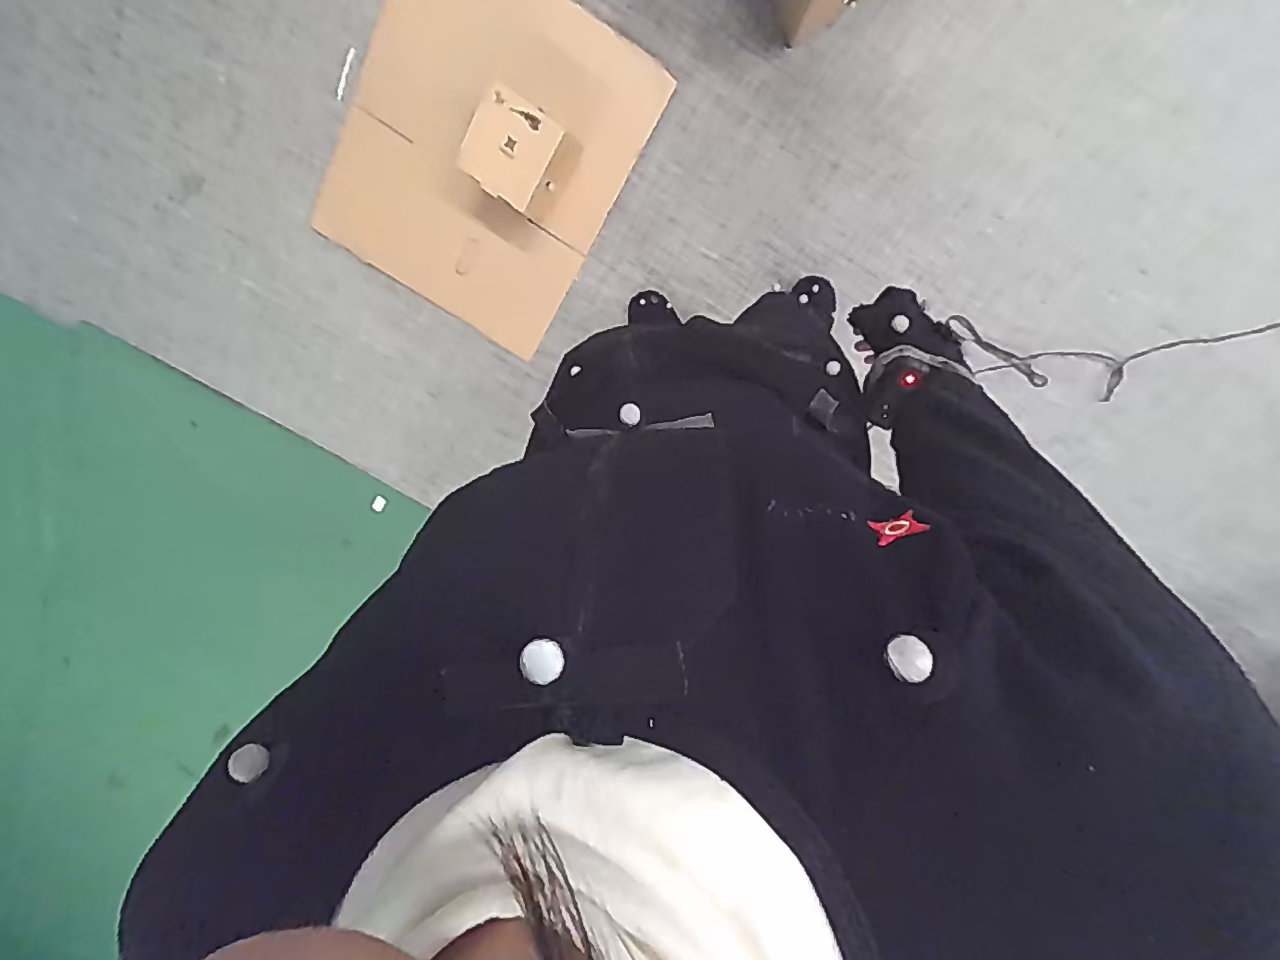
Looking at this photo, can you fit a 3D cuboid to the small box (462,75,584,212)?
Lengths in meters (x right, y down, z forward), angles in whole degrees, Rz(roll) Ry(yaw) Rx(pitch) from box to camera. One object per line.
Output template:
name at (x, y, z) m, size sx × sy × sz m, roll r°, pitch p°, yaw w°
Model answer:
small box at (-0.236, -0.689, 1.134) m, size 0.168 × 0.176 × 0.179 m, roll 32°, pitch 113°, yaw -4°
